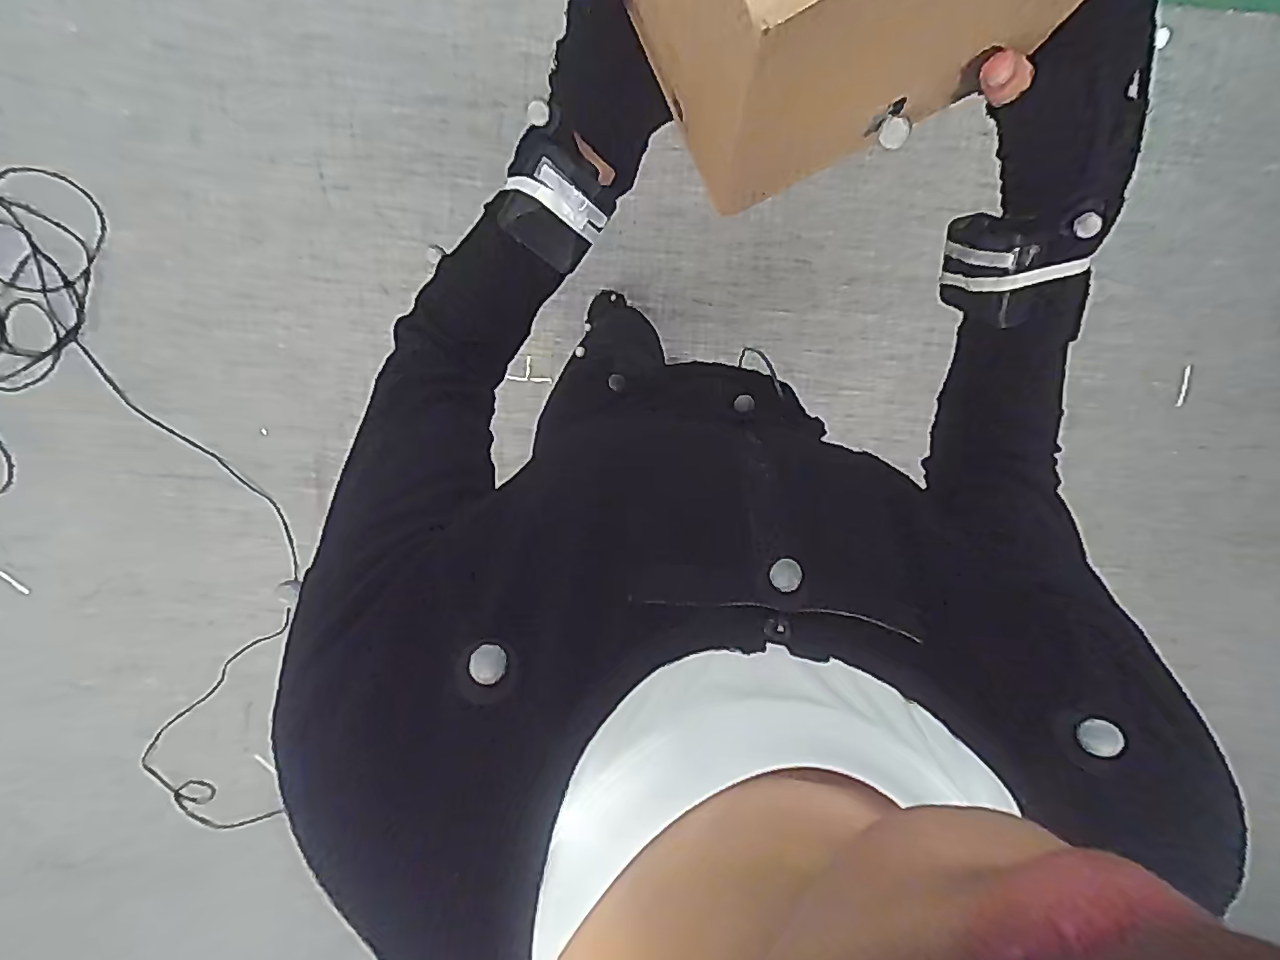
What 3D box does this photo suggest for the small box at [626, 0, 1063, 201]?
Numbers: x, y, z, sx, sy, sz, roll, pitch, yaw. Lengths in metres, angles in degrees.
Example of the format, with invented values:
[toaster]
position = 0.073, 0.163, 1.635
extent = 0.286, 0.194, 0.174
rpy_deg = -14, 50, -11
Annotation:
[small box]
position = 0.084, -0.251, 0.215
extent = 0.179, 0.176, 0.168
rpy_deg = -24, 96, 7
